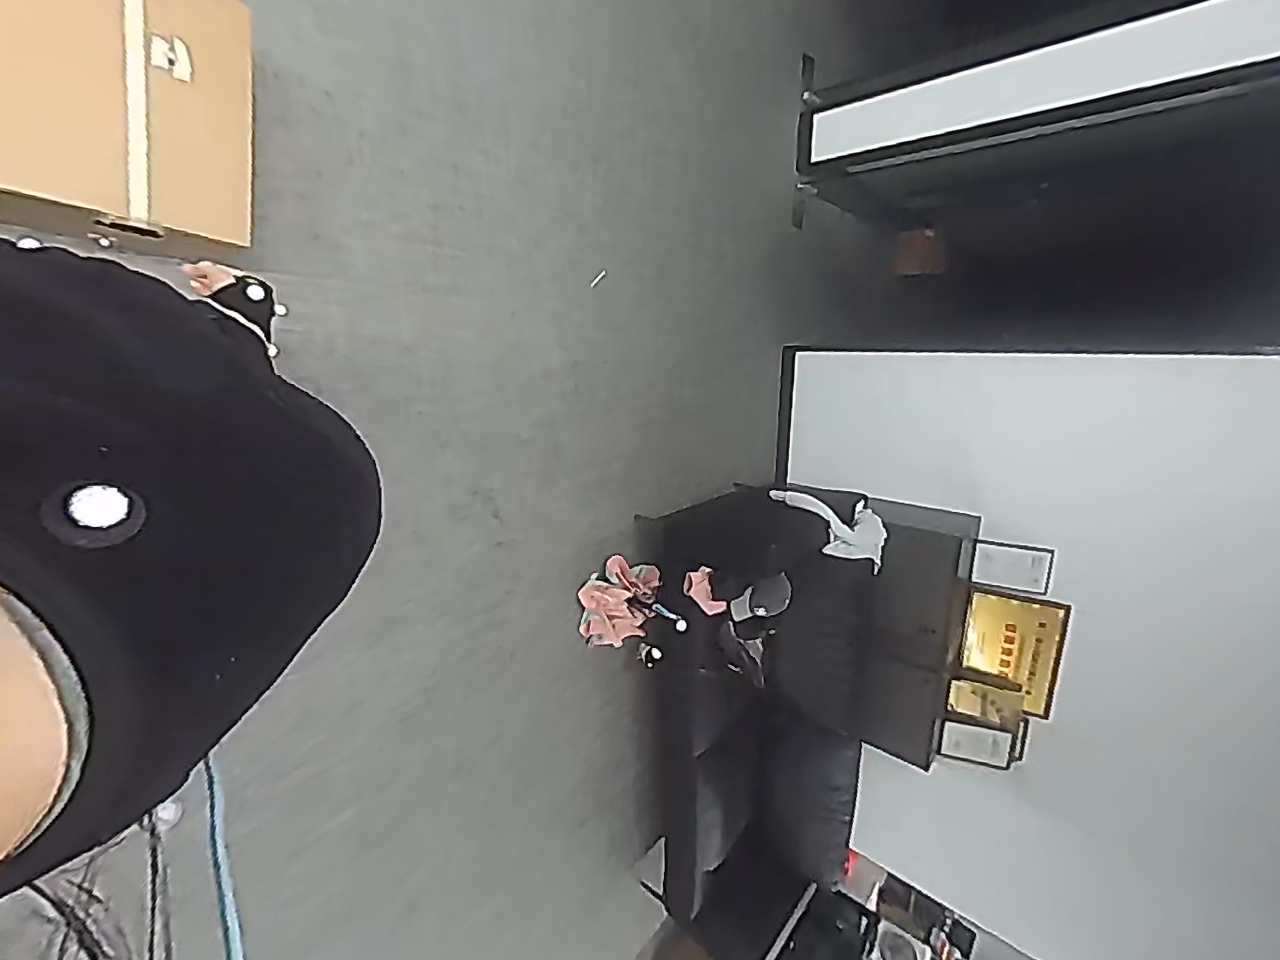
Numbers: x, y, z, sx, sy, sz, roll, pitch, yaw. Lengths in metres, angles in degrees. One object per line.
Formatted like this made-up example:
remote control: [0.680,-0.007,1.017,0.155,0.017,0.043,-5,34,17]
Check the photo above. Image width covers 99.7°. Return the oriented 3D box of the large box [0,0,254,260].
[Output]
large box: [-0.908,-0.644,0.953,0.320,0.320,0.408,-3,101,-49]
